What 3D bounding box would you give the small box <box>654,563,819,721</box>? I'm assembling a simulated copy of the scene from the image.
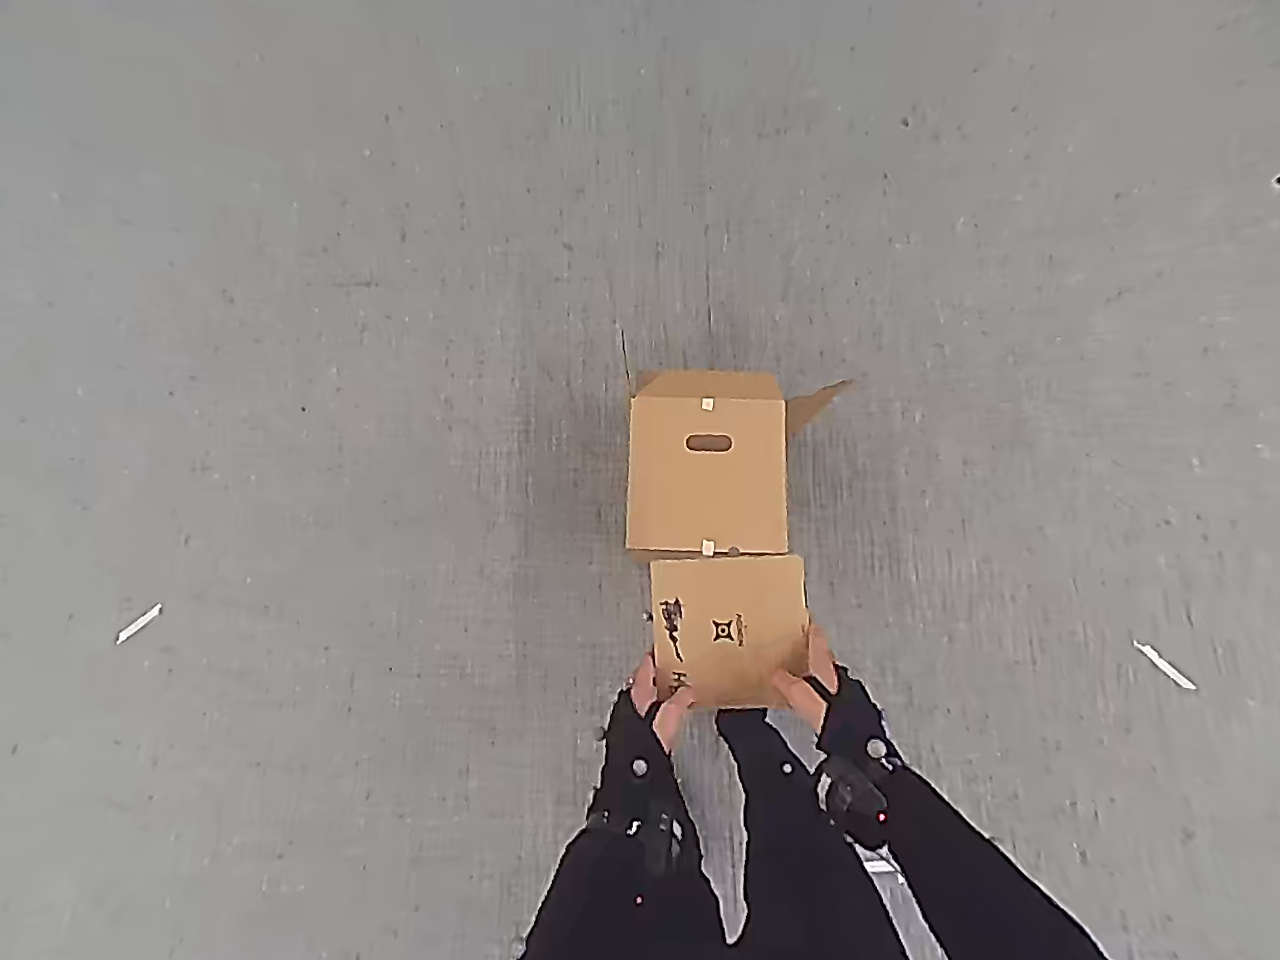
[{"bbox_3d":[0.108,0.190,0.673,0.179,0.176,0.168,-3,81,3],"label":"small box"}]
